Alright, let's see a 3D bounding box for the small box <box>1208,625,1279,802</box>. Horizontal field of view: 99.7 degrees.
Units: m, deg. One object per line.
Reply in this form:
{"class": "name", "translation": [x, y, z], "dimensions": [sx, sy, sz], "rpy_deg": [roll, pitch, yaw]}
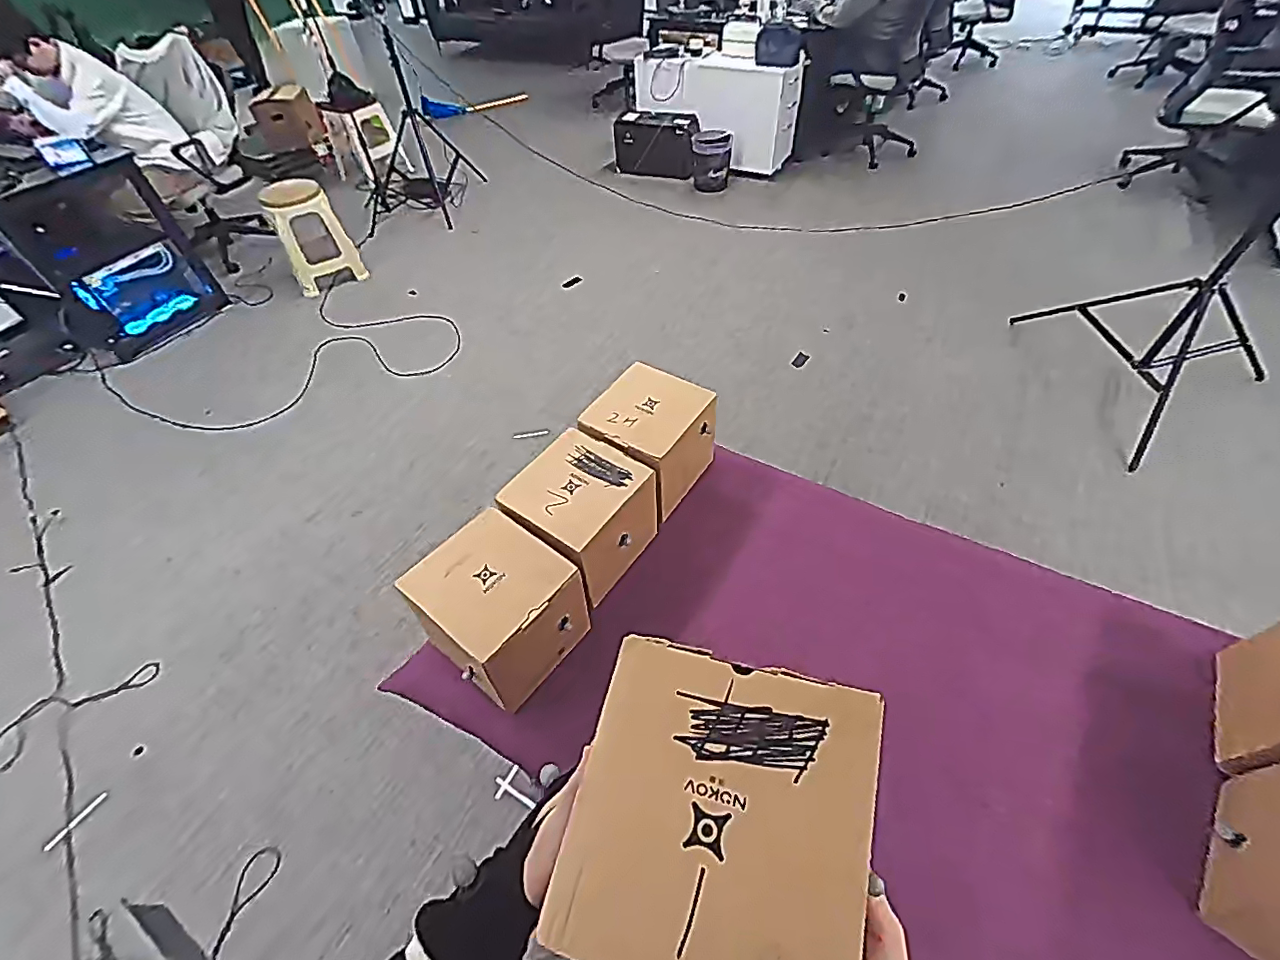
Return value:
{"class": "small box", "translation": [0.805, 0.275, 0.612], "dimensions": [0.168, 0.176, 0.179], "rpy_deg": [27, 55, 23]}

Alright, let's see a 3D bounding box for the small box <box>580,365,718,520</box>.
{"class": "small box", "translation": [0.018, -0.065, 0.943], "dimensions": [0.168, 0.176, 0.179], "rpy_deg": [27, 57, 24]}

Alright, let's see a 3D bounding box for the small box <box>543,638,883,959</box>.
{"class": "small box", "translation": [0.063, 0.234, 0.374], "dimensions": [0.168, 0.176, 0.179], "rpy_deg": [7, 60, 21]}
